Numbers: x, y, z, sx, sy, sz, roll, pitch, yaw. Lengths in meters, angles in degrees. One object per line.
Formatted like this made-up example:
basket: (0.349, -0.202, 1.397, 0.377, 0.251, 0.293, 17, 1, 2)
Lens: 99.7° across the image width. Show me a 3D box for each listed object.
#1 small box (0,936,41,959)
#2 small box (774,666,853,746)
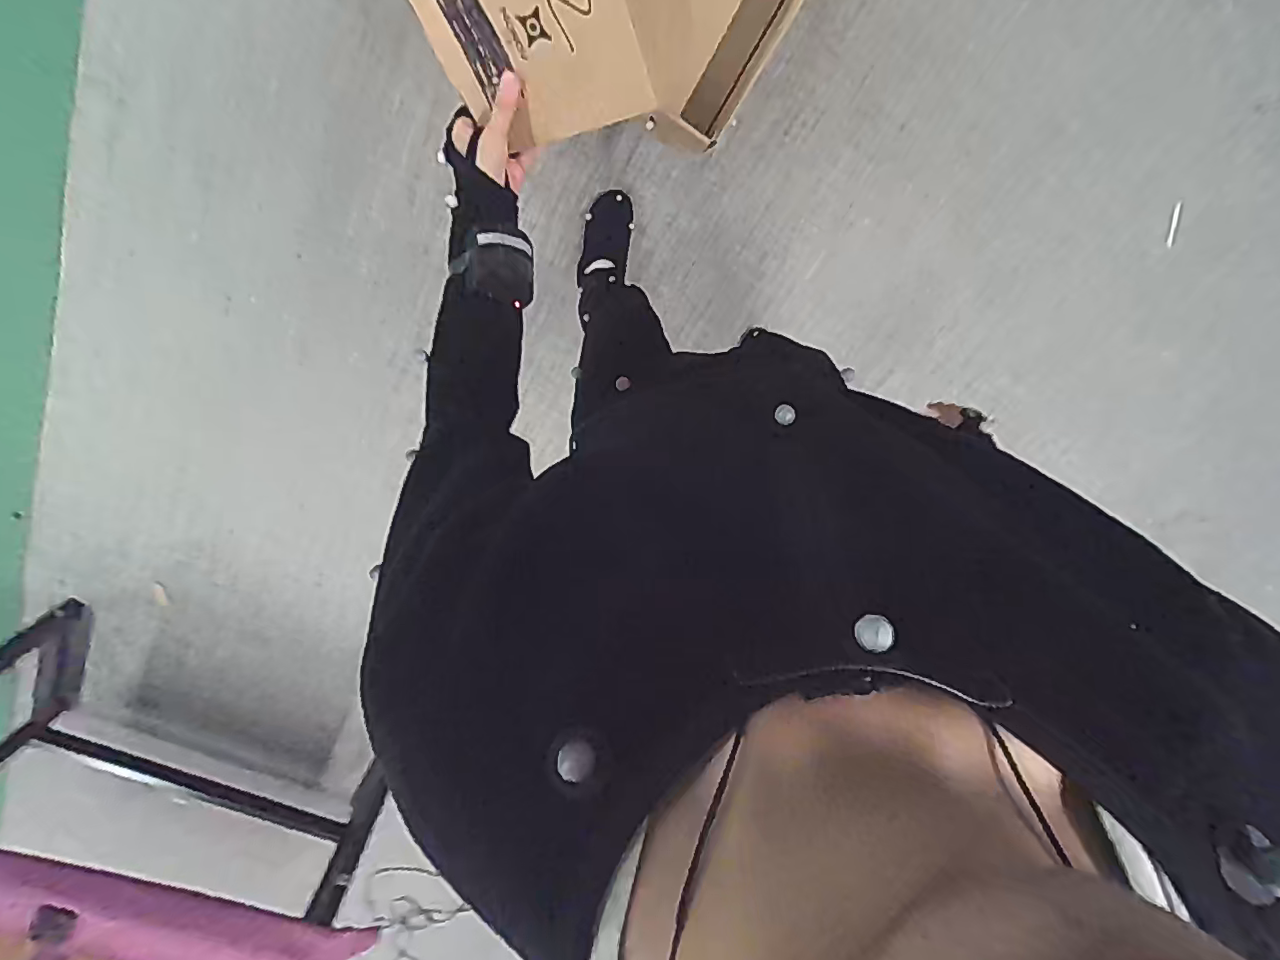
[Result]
small box: (-1.535, 1.162, 1.221, 0.179, 0.176, 0.168, 32, 110, -15)
small box: (0.586, 0.769, 1.854, 0.179, 0.176, 0.168, 20, 113, -10)
